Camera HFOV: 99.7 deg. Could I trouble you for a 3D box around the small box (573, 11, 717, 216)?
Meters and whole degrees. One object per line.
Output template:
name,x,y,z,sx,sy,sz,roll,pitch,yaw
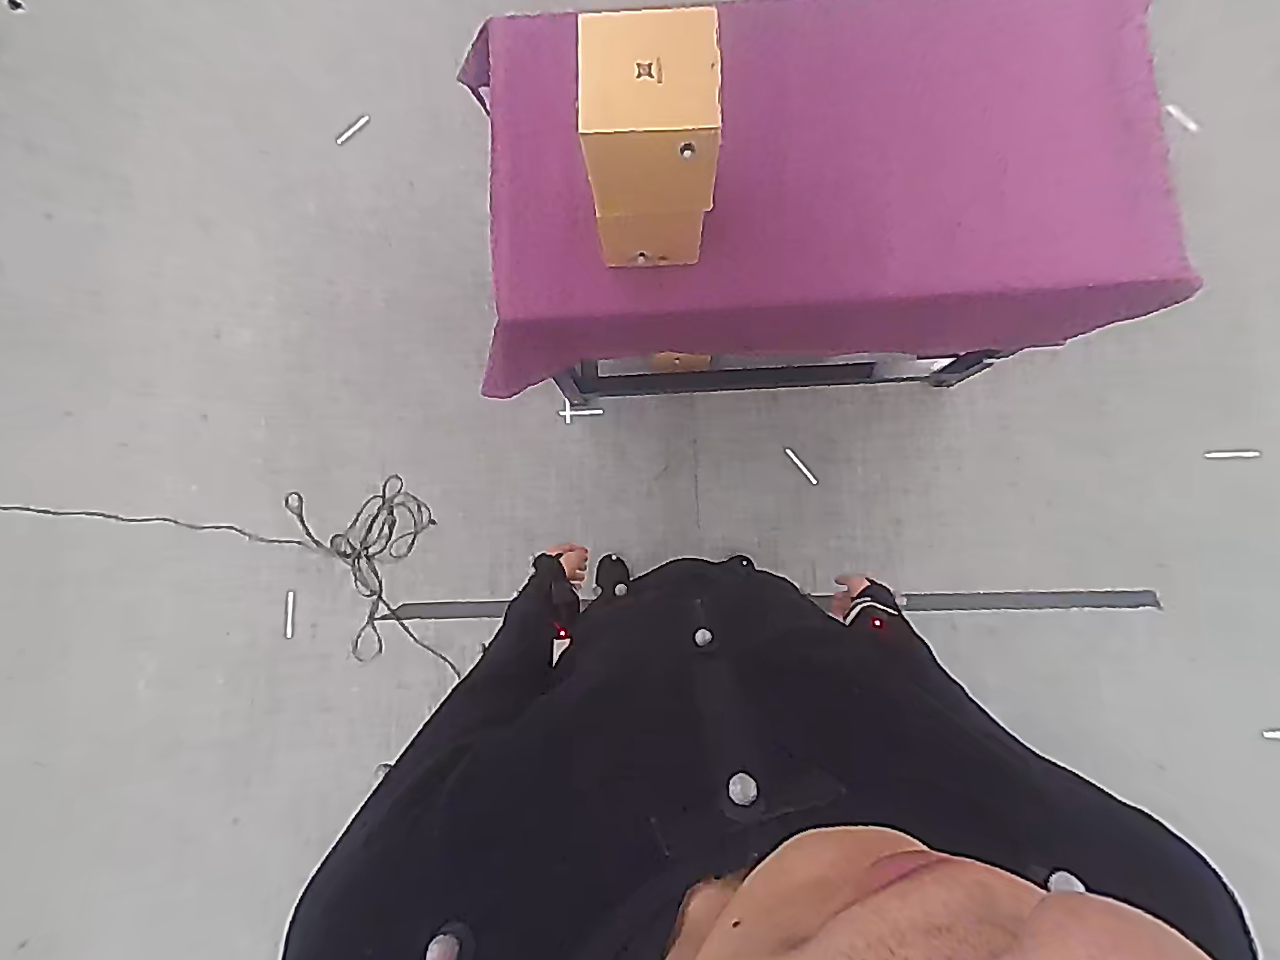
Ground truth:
small box,0.010,-0.482,0.736,0.179,0.176,0.168,-1,84,3

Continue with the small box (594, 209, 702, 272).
small box,0.014,-0.471,0.898,0.168,0.176,0.179,-2,84,3
